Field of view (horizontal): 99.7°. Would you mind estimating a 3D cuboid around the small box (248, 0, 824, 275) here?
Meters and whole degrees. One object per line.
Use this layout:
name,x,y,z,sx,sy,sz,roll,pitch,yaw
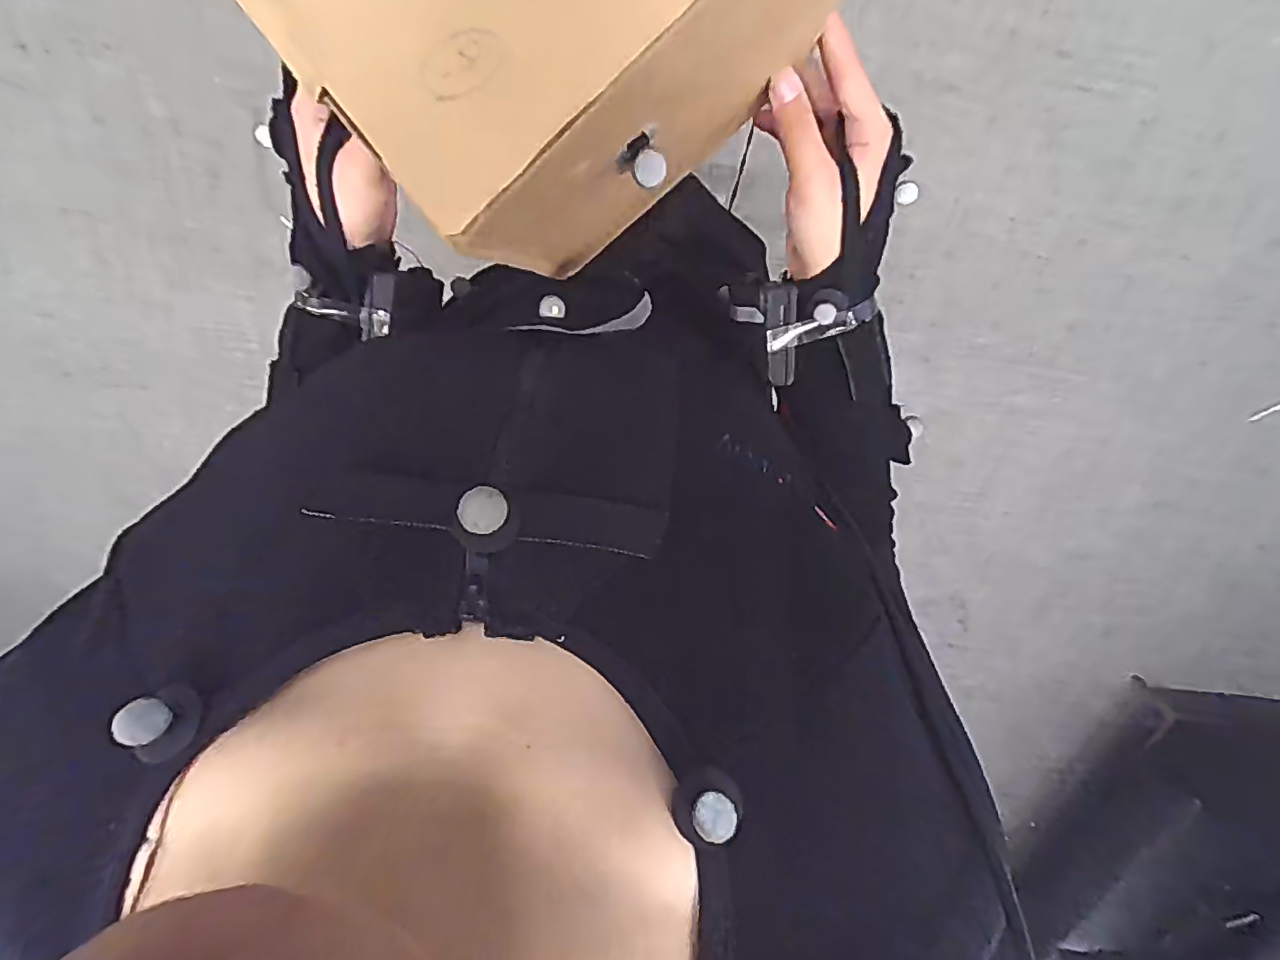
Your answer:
small box,-0.034,-0.206,0.222,0.179,0.176,0.168,-36,99,15
